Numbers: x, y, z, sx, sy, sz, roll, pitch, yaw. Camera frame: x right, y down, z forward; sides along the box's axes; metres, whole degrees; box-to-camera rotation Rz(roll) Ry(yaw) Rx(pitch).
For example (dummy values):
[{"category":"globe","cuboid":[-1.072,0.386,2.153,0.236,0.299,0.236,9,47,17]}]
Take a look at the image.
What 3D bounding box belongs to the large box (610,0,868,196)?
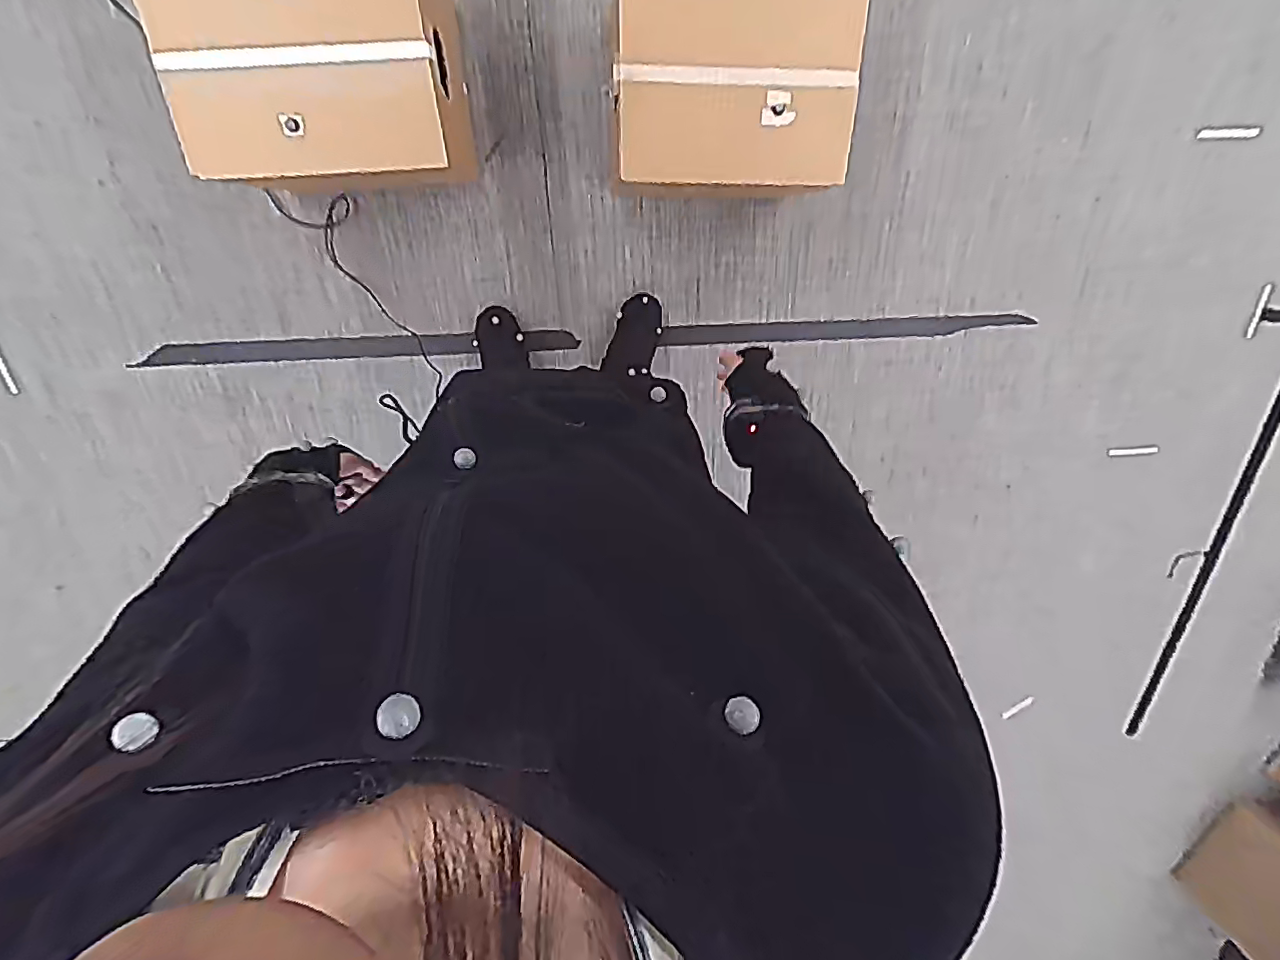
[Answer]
[{"category":"large box","cuboid":[0.154,-0.729,1.031,0.408,0.320,0.320,-2,114,-6]}]
